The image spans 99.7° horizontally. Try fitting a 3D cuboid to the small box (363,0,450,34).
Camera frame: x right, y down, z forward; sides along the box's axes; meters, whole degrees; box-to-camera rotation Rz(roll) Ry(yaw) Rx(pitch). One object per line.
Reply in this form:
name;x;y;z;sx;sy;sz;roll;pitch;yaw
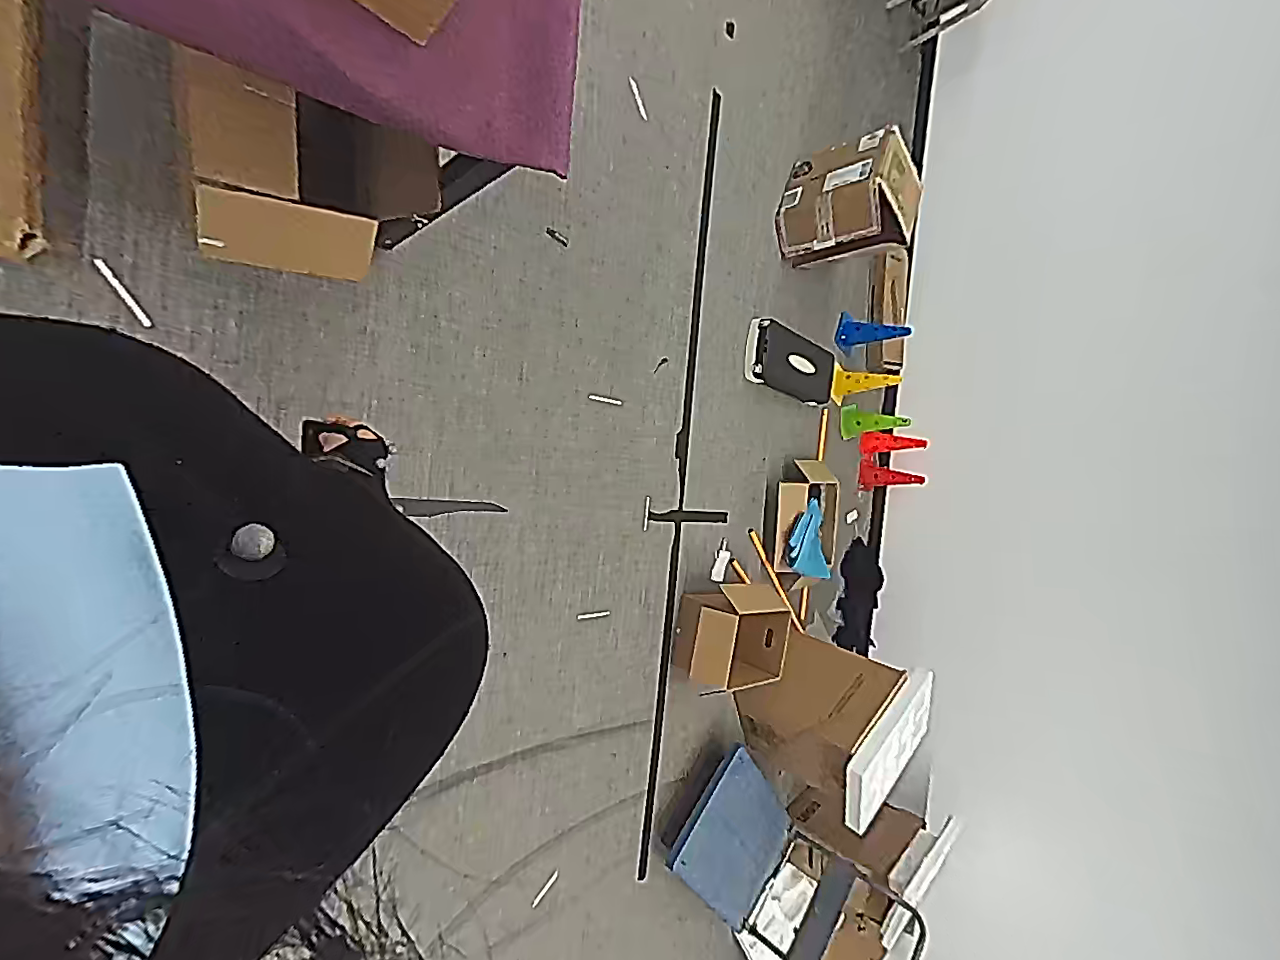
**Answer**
small box;-0.291;-0.681;0.626;0.179;0.176;0.168;11;88;-44
